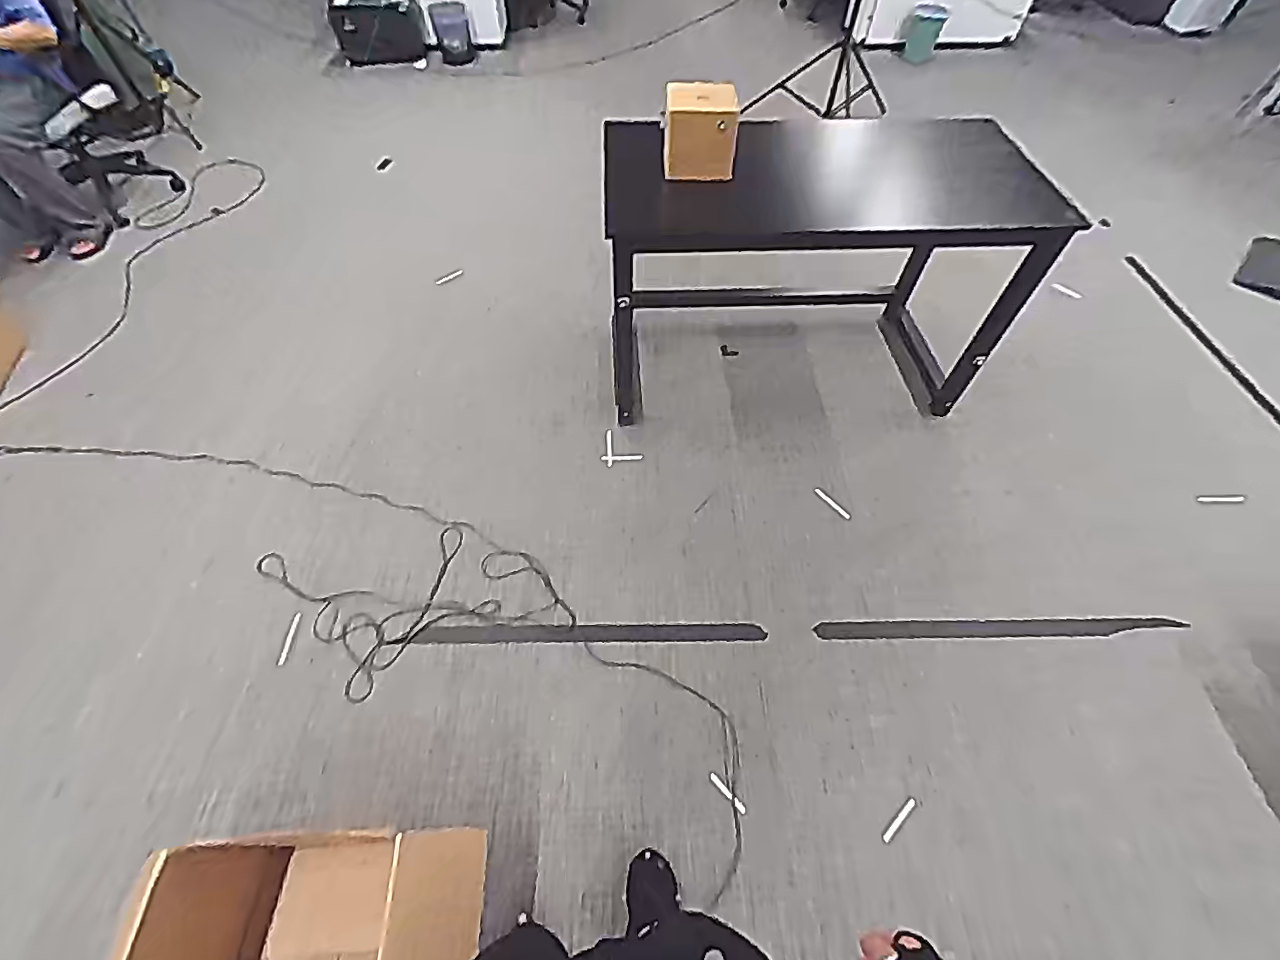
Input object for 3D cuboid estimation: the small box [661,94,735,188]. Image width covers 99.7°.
[{"bbox_3d":[0.147,-0.904,1.445,0.179,0.176,0.168,0,55,-2],"label":"small box"}]
